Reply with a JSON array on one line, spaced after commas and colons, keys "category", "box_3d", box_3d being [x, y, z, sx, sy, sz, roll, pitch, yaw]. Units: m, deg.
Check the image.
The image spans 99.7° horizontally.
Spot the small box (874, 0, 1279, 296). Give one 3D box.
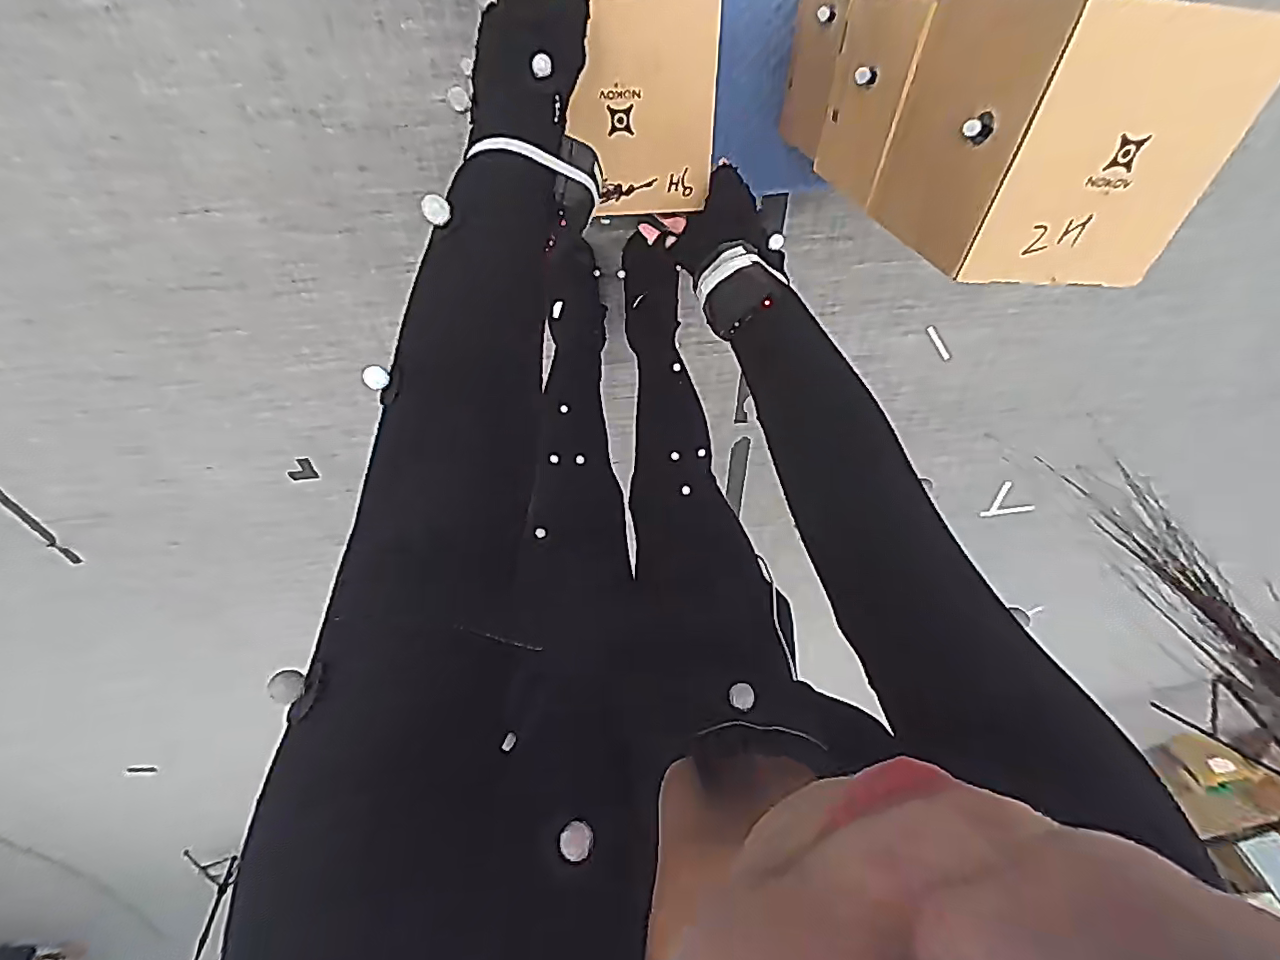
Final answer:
[{"category": "small box", "box_3d": [0.323, -0.272, 0.445, 0.168, 0.176, 0.179, -1, 133, -8]}]

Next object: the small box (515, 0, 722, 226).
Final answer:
[{"category": "small box", "box_3d": [-0.025, -0.368, 0.530, 0.168, 0.176, 0.179, -4, 133, -4]}]

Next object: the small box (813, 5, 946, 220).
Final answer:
[{"category": "small box", "box_3d": [0.305, -0.382, 0.566, 0.179, 0.176, 0.168, -2, 133, -7]}]
